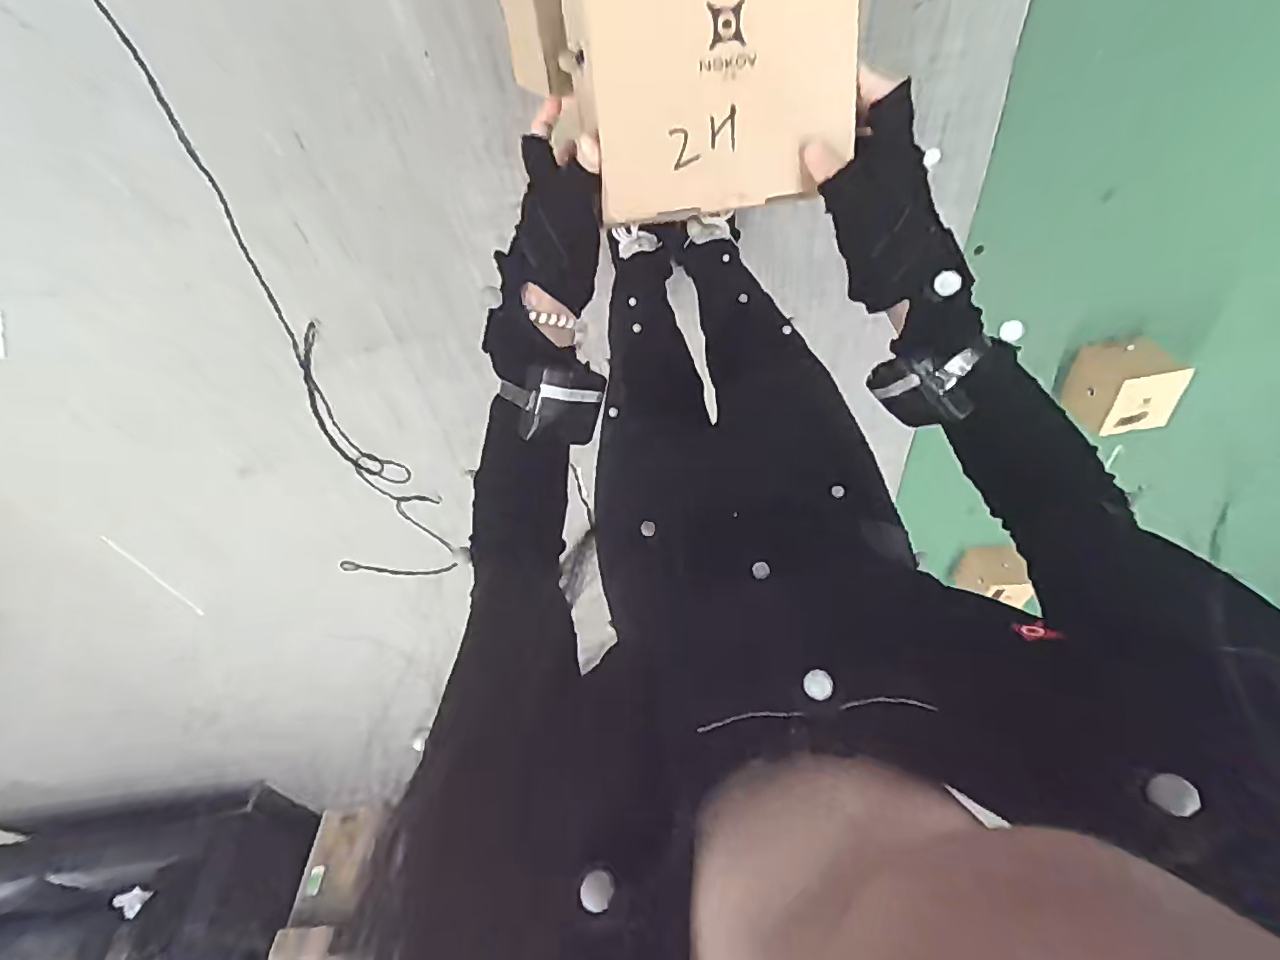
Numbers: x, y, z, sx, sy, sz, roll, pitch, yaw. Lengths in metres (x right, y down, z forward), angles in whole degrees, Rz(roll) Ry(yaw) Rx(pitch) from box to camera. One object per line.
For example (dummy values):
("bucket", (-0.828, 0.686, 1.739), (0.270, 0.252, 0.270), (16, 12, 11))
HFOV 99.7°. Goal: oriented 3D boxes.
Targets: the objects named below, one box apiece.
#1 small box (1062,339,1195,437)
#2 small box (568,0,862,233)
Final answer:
("small box", (1.246, -0.239, 1.399), (0.168, 0.176, 0.179), (-10, 131, 5))
("small box", (0.041, -0.284, 0.391), (0.168, 0.176, 0.179), (-9, 114, -3))
